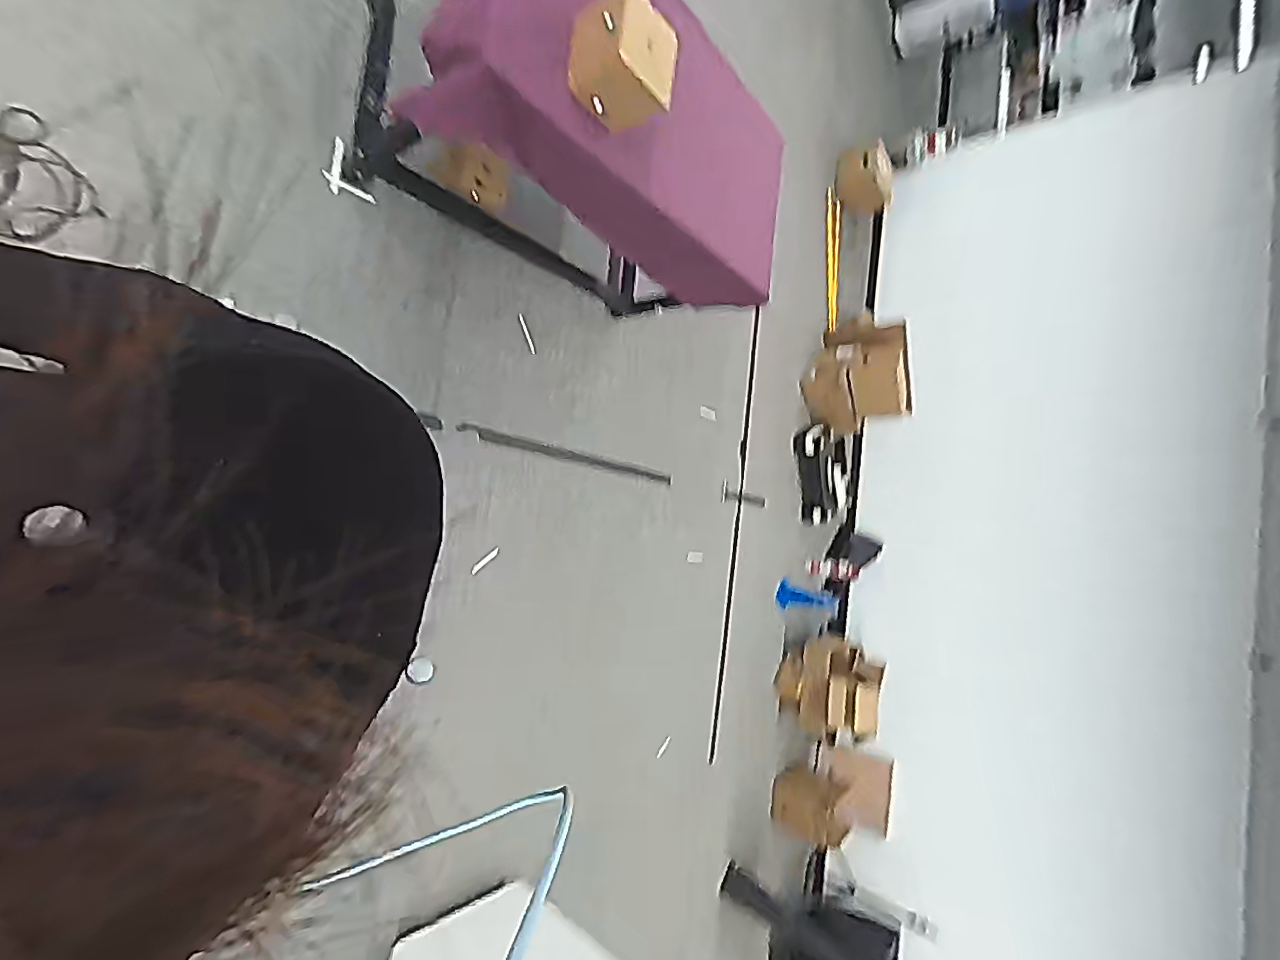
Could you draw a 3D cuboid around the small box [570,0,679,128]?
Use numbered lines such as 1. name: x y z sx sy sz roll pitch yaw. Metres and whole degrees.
1. small box: -0.037 -0.934 1.195 0.168 0.176 0.179 12 84 -49
